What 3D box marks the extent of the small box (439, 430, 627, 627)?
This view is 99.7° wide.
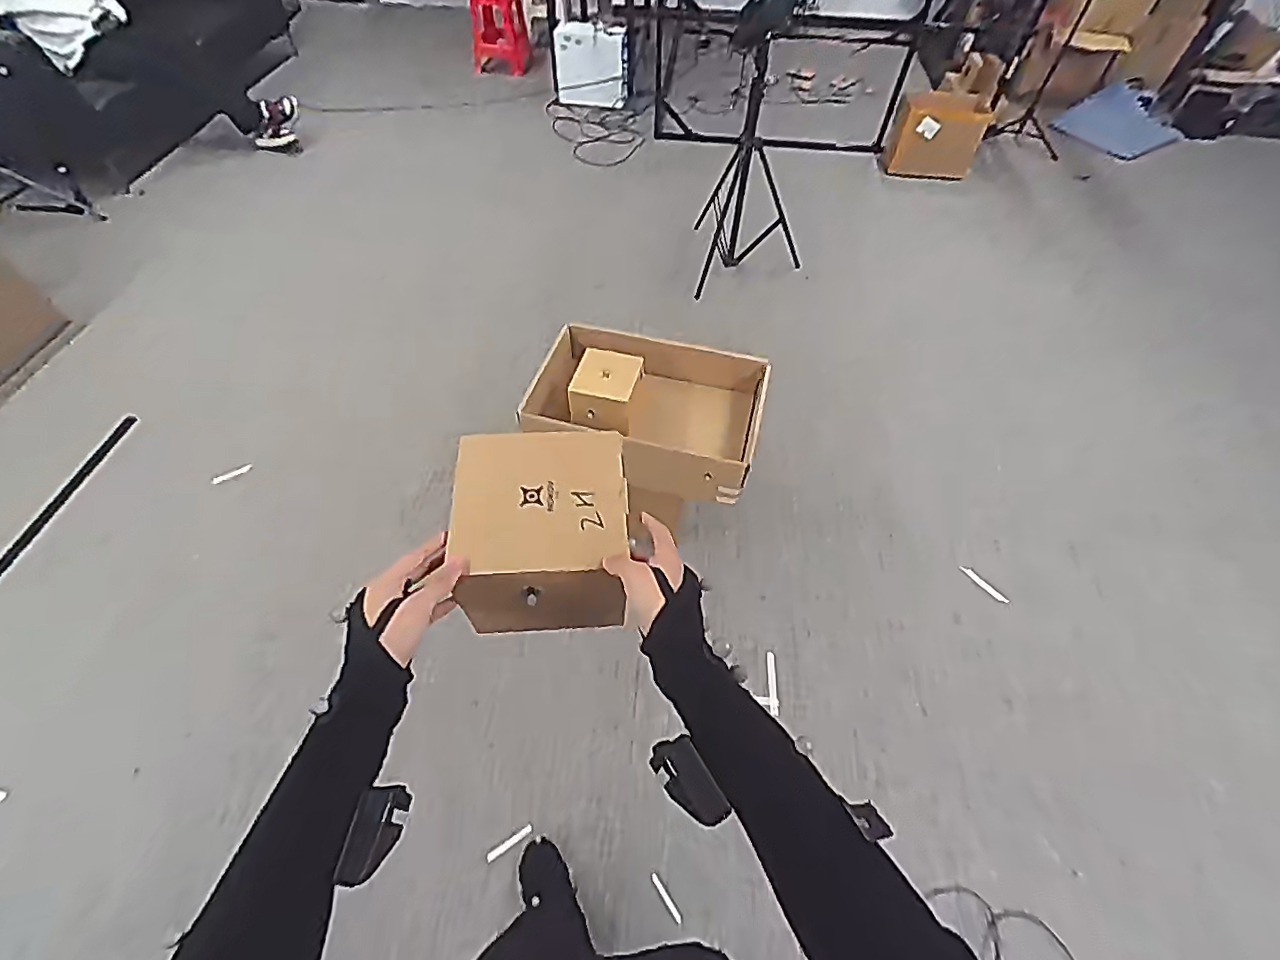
[{"bbox_3d":[-0.106,0.060,0.608,0.179,0.176,0.168,-1,57,-5],"label":"small box"}]

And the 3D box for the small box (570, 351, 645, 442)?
[{"bbox_3d":[-0.085,-0.228,1.504,0.168,0.176,0.179,12,54,7],"label":"small box"}]
